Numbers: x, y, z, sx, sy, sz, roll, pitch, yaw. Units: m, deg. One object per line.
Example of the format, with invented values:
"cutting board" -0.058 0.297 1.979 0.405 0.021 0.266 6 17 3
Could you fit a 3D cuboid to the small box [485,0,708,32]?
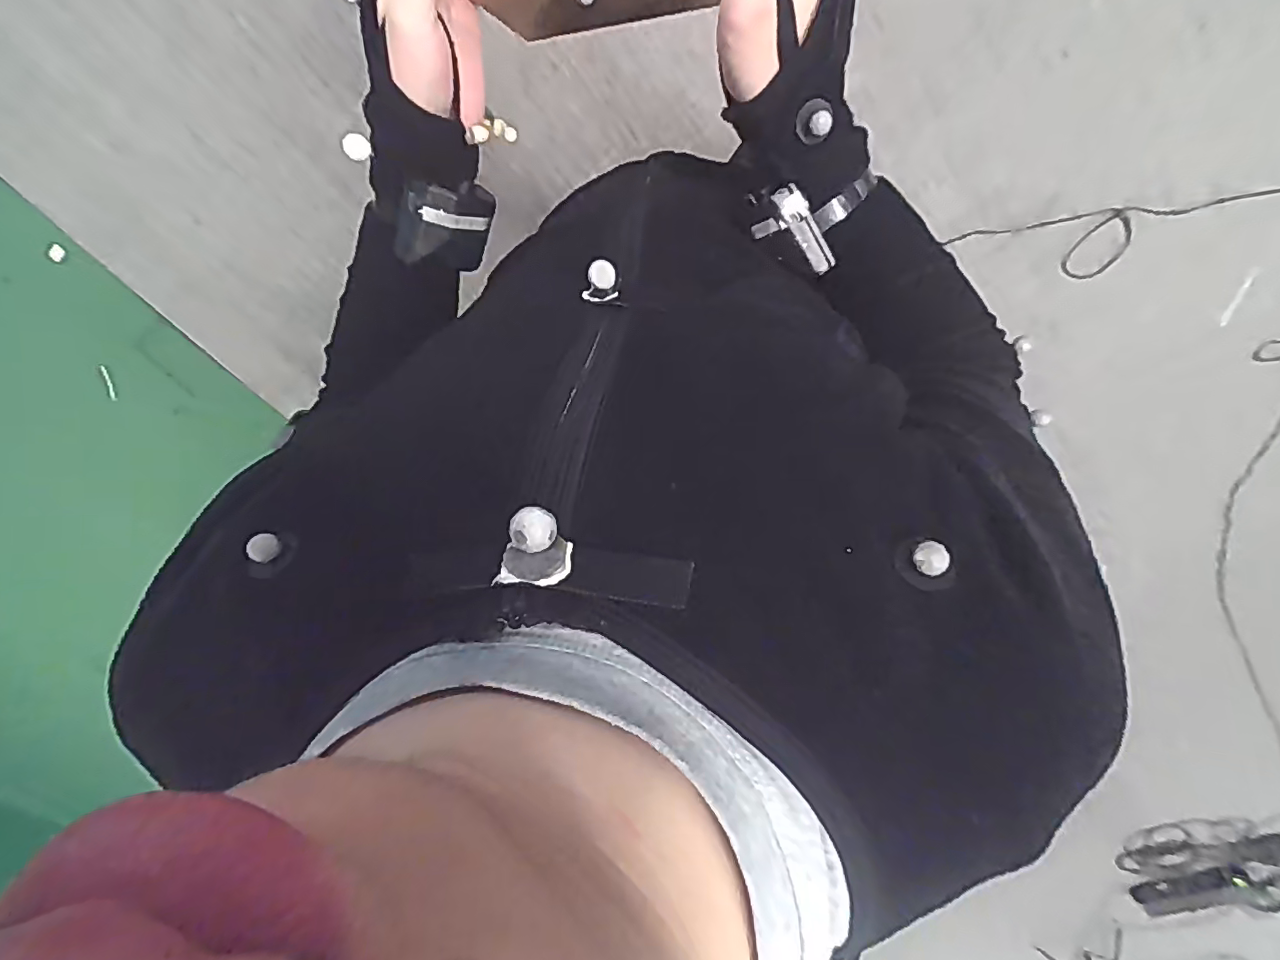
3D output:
"small box" -0.029 -0.383 0.295 0.179 0.176 0.168 2 114 14
